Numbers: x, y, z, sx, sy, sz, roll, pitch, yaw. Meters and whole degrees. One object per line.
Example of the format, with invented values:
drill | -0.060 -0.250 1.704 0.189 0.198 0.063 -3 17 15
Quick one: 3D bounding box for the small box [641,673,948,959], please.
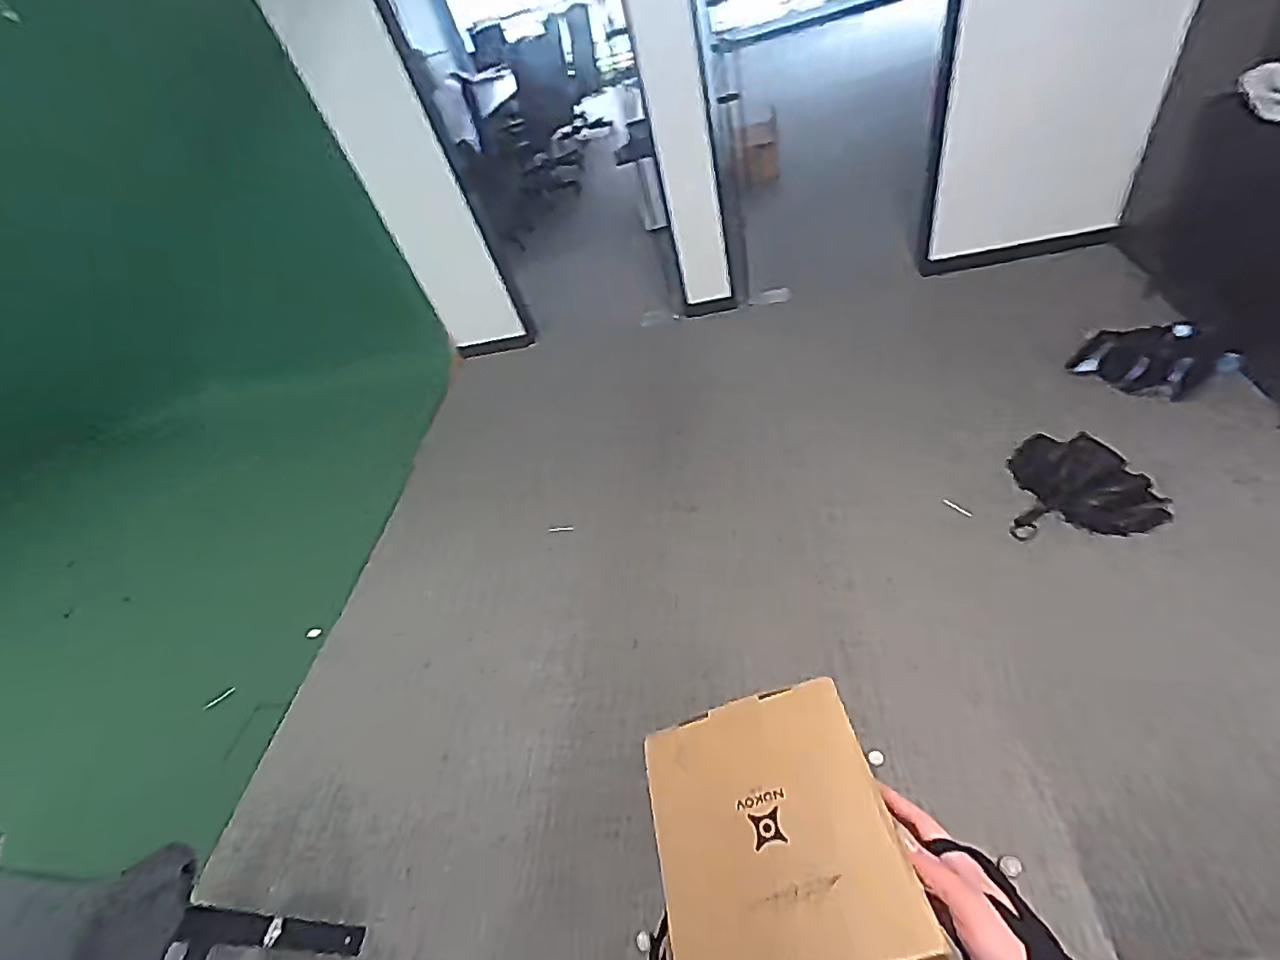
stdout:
small box | 0.117 0.293 0.432 0.168 0.176 0.179 -23 39 7
